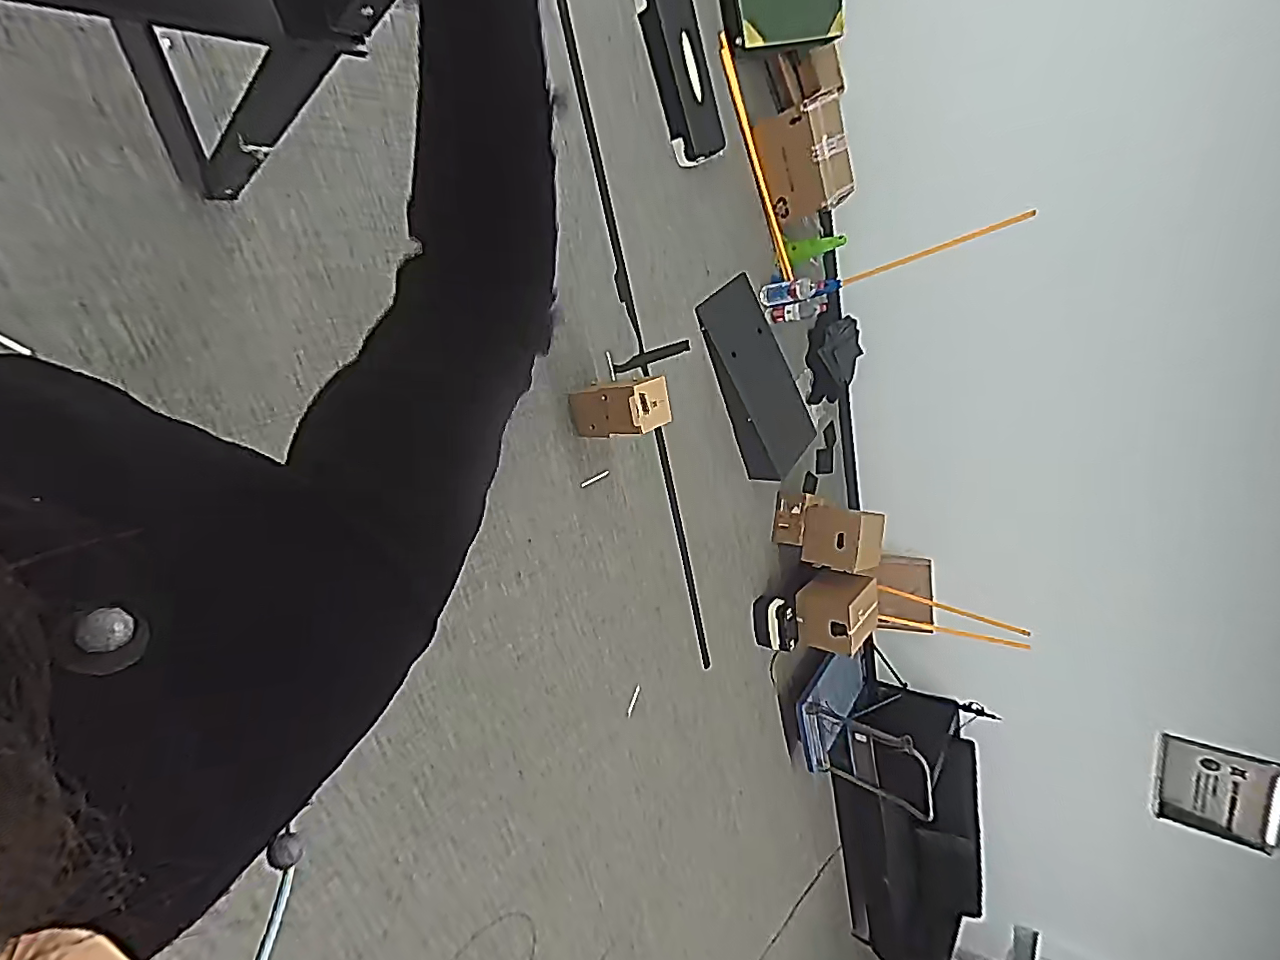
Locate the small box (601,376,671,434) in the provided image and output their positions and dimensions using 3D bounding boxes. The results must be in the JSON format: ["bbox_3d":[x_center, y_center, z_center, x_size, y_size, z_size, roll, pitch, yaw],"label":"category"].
[{"bbox_3d":[-0.020,-0.261,1.887,0.179,0.176,0.168,-29,115,-44],"label":"small box"}]

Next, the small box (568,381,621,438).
[{"bbox_3d":[-0.138,-0.263,2.001,0.168,0.176,0.179,-32,116,-42],"label":"small box"}]
